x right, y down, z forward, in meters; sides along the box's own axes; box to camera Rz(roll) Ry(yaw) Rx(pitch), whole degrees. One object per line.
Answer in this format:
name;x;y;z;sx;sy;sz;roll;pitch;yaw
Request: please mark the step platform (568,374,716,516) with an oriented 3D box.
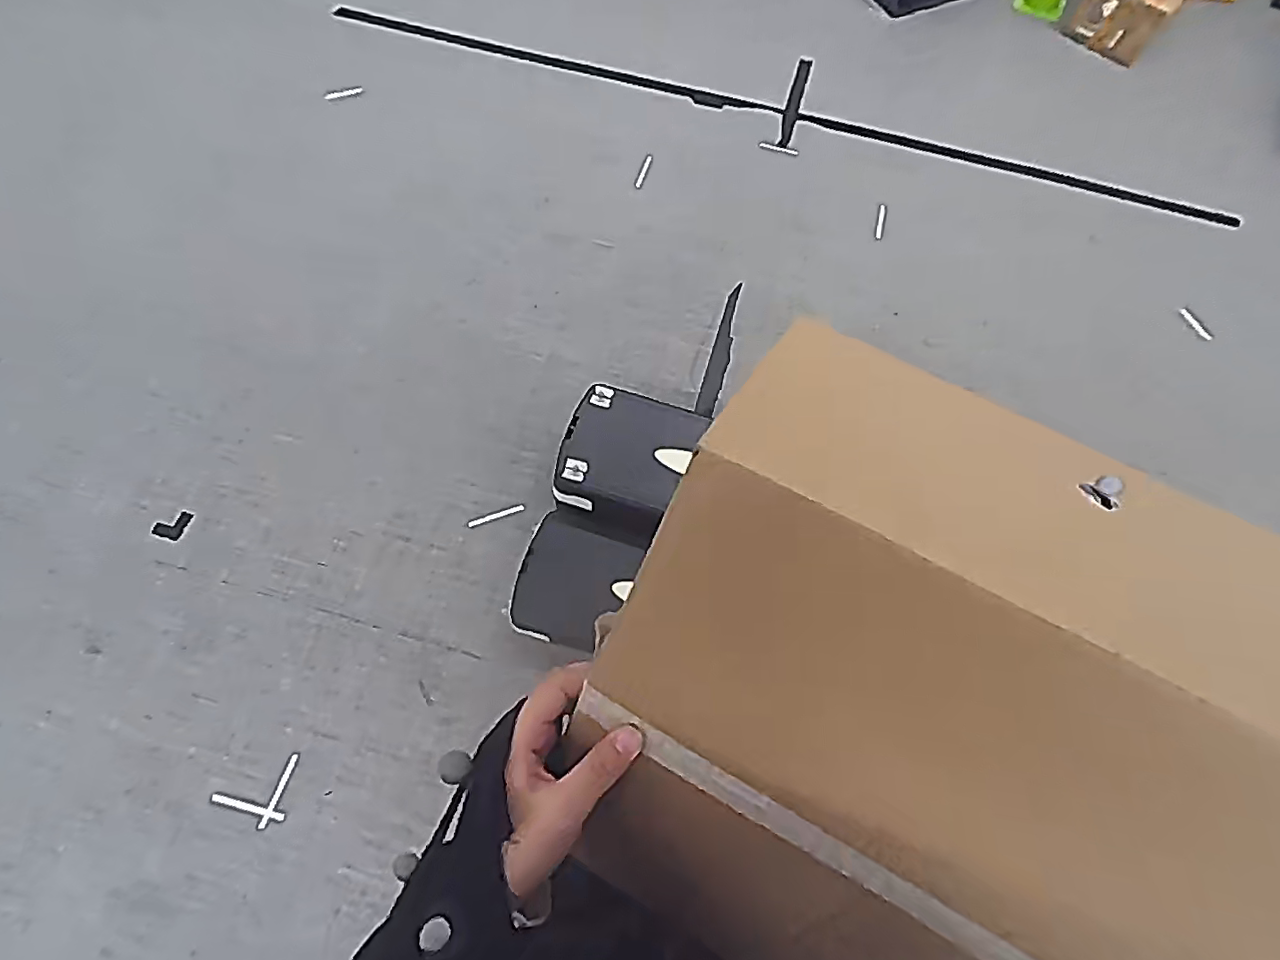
step platform;0.180;0.006;1.277;0.684;0.204;0.286;22;68;5
